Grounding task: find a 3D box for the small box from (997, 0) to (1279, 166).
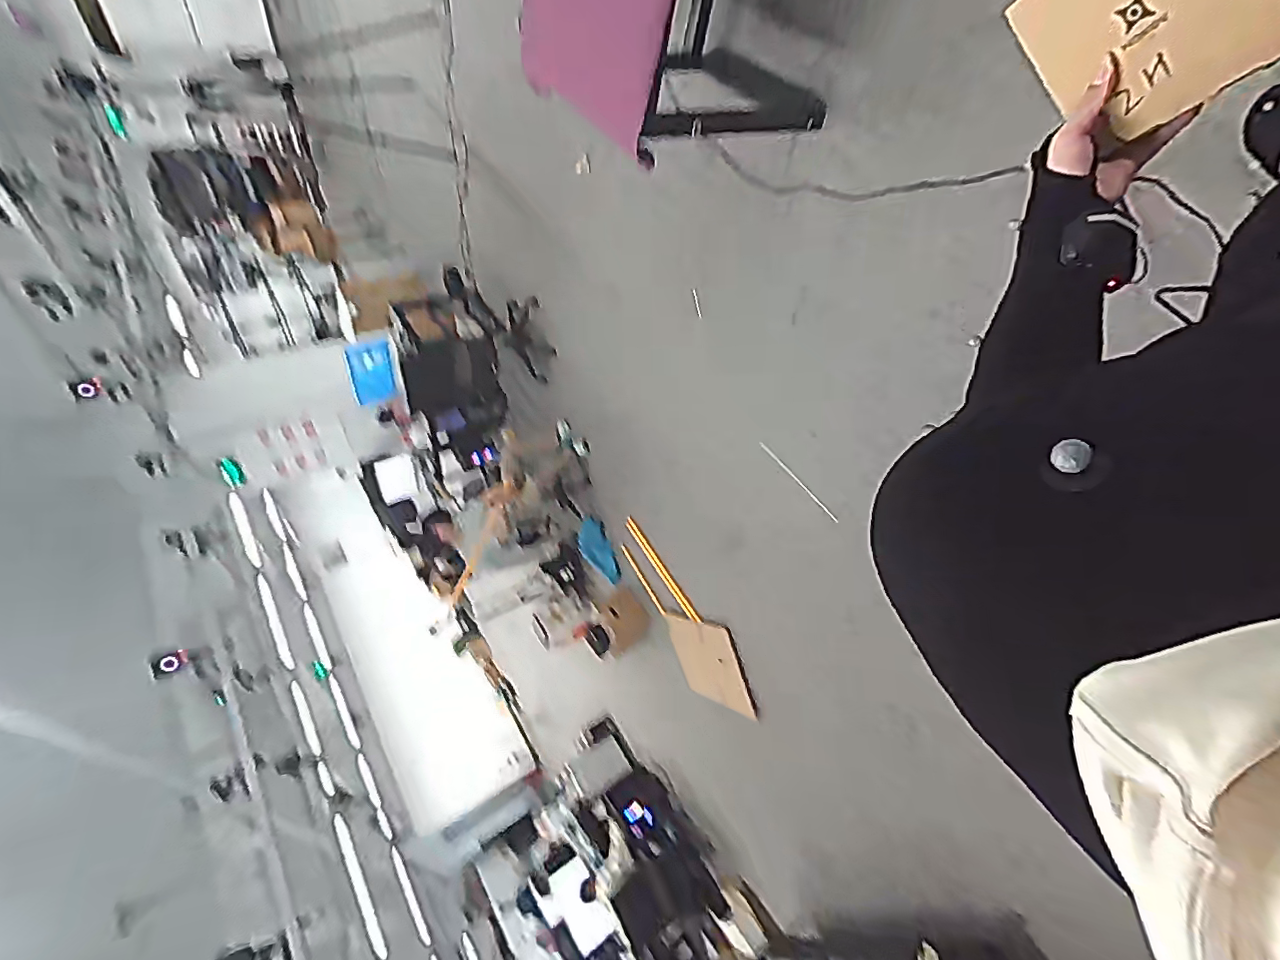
[{"bbox_3d":[0.483,-0.440,0.483,0.179,0.176,0.168,53,172,-6],"label":"small box"}]
